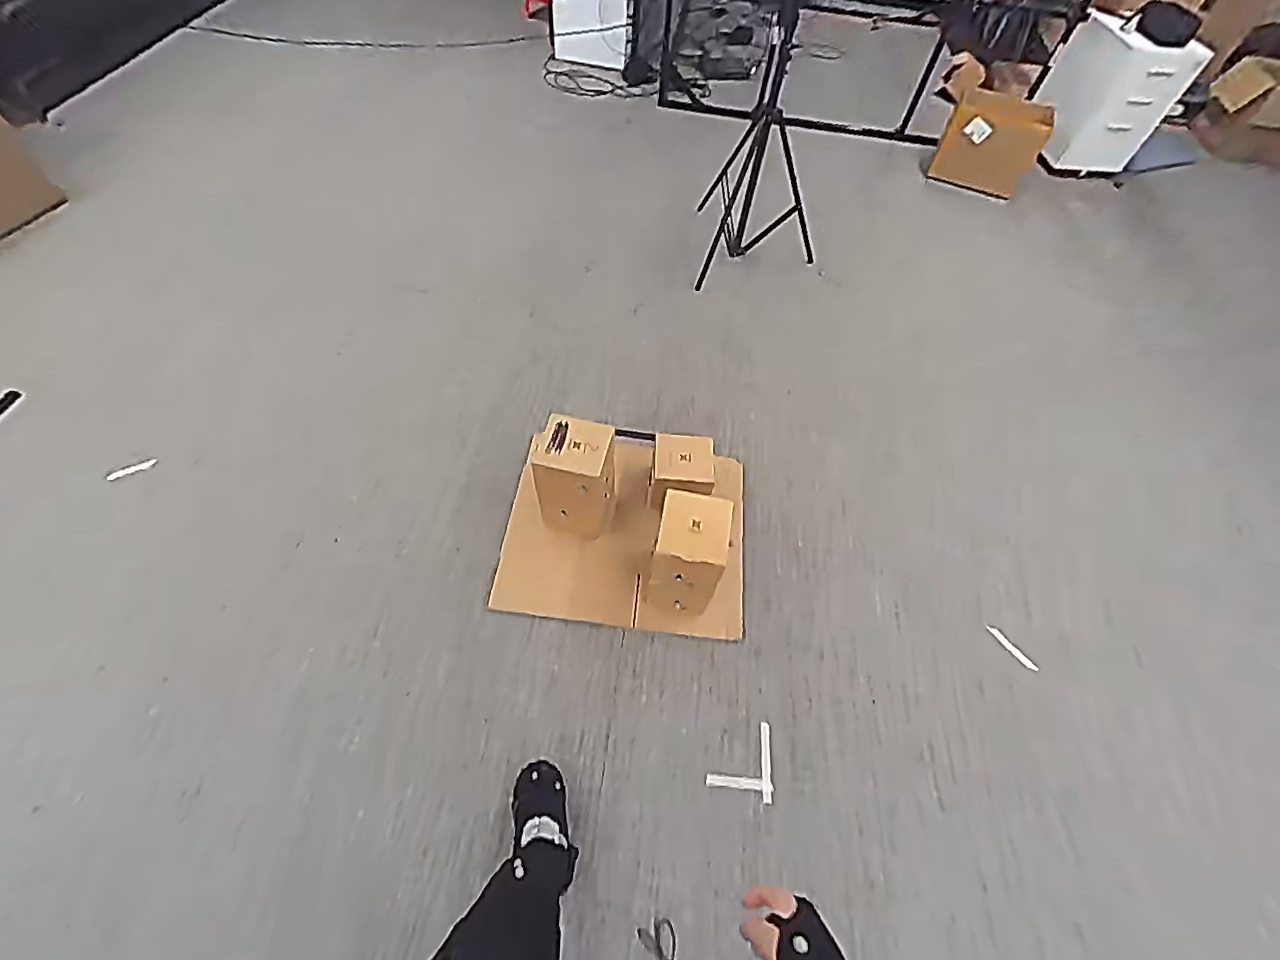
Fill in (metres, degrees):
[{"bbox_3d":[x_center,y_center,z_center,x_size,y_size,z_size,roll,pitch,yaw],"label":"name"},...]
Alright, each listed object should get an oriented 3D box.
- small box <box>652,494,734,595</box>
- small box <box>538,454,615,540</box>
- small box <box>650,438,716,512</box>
[{"bbox_3d":[0.127,0.161,1.329,0.168,0.176,0.179,11,58,2],"label":"small box"},{"bbox_3d":[-0.177,0.053,1.569,0.179,0.176,0.168,14,57,7],"label":"small box"},{"bbox_3d":[0.126,-0.007,1.638,0.179,0.176,0.168,4,56,-1],"label":"small box"}]
